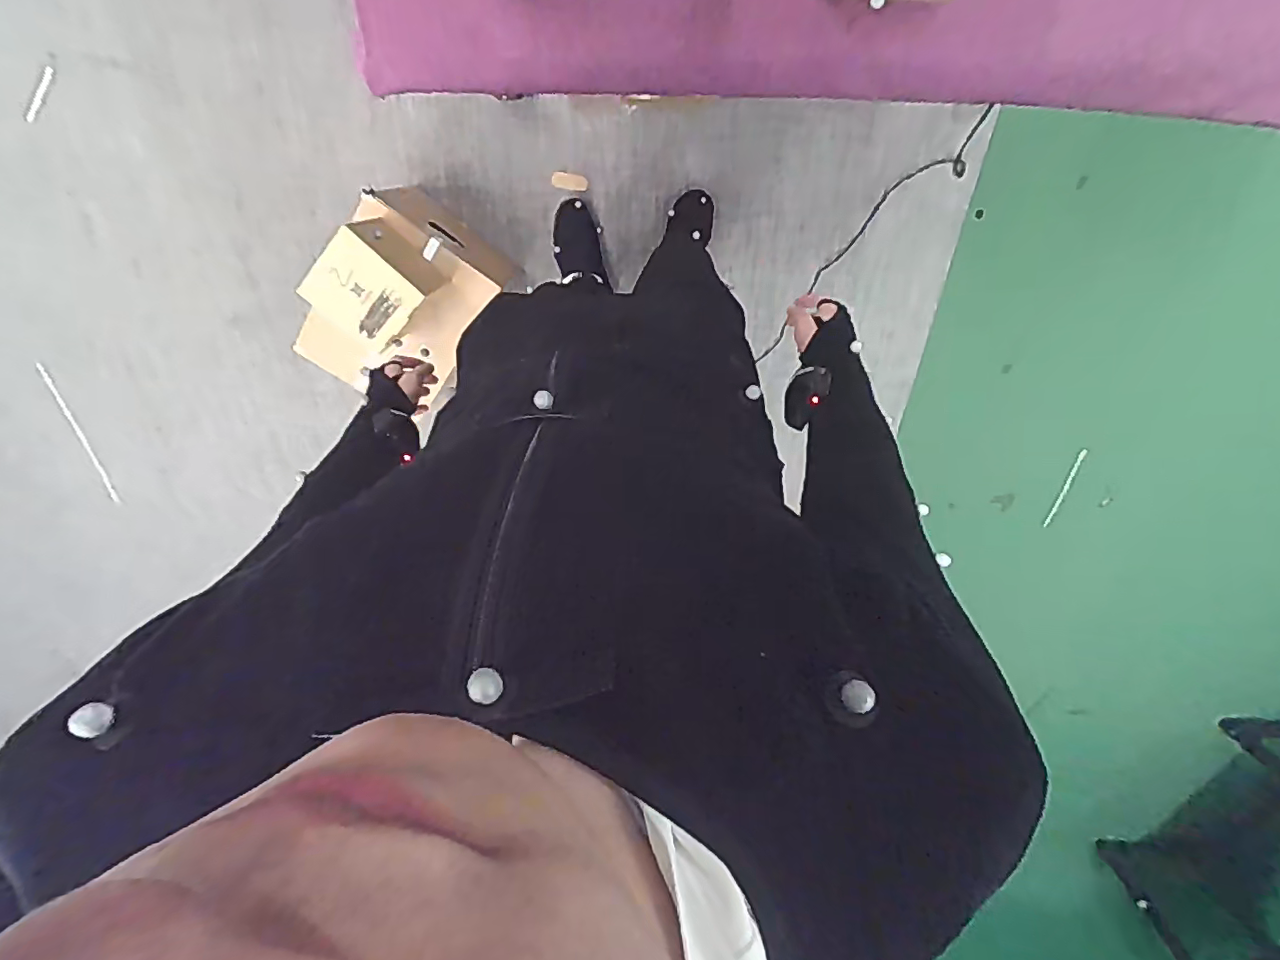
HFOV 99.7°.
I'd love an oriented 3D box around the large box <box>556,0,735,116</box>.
[{"bbox_3d":[0.006,-0.954,1.041,0.320,0.320,0.408,0,119,-3],"label":"large box"}]
